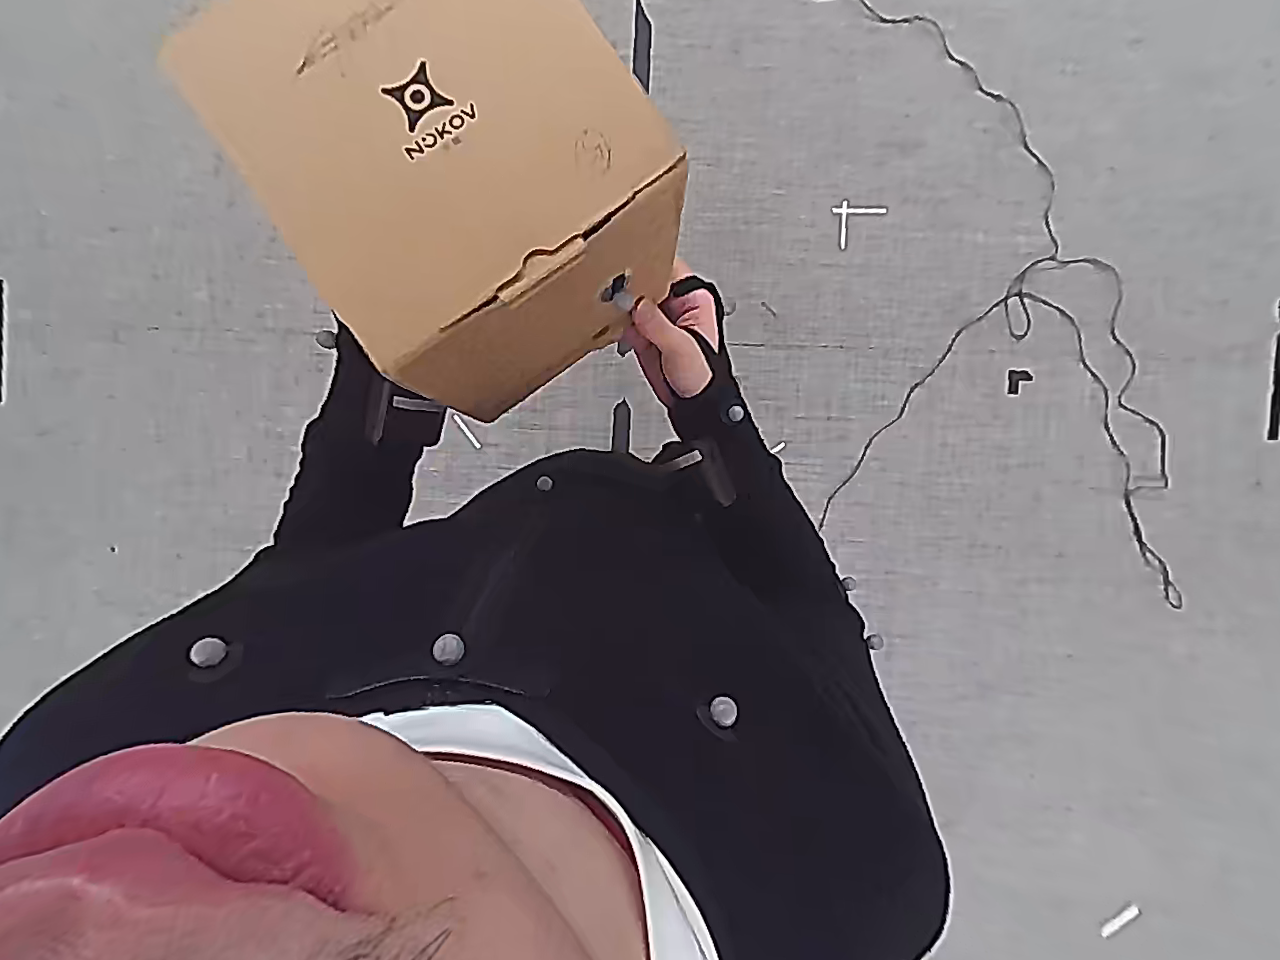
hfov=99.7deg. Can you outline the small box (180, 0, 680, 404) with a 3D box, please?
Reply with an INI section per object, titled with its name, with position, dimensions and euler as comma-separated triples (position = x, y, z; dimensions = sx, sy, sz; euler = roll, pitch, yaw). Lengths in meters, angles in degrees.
[small box]
position = -0.095, -0.162, 0.326
dimensions = 0.168, 0.176, 0.179
euler = -38, 89, -2
